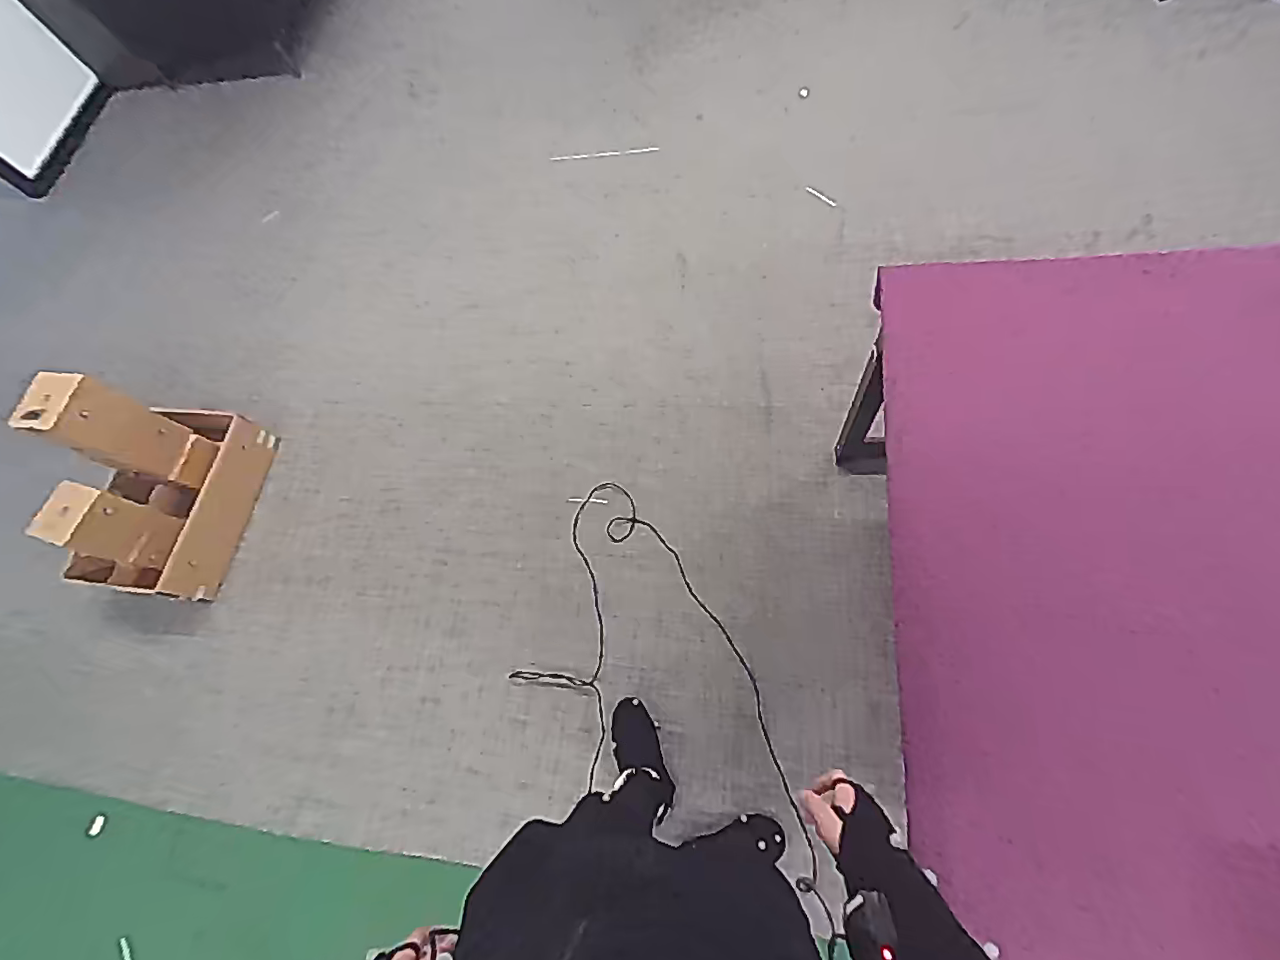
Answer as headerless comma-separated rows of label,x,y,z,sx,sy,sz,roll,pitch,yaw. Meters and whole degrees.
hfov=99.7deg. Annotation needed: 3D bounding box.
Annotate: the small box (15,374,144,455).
small box,-1.601,-0.184,1.558,0.168,0.176,0.179,5,69,12
